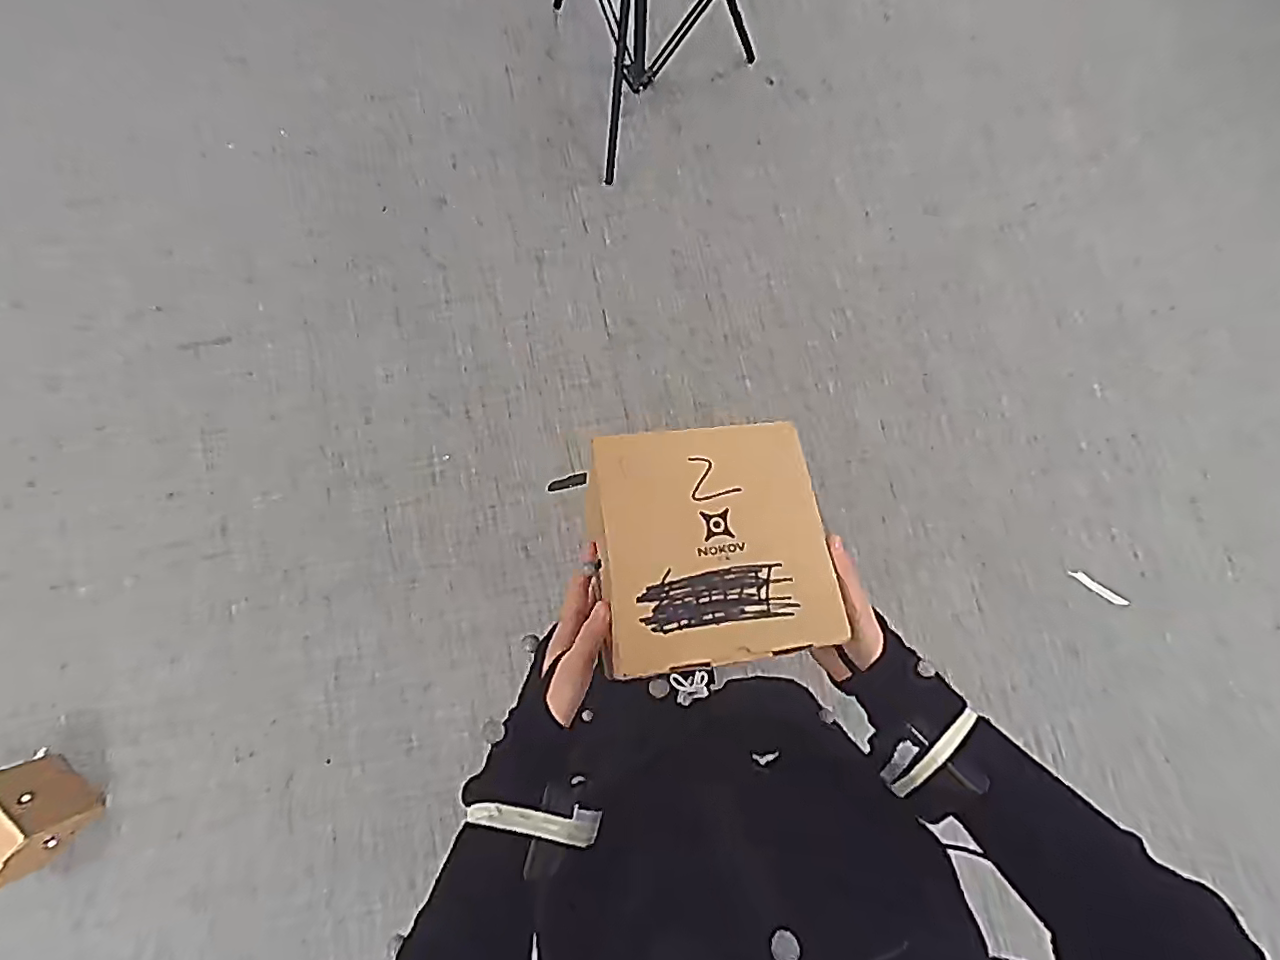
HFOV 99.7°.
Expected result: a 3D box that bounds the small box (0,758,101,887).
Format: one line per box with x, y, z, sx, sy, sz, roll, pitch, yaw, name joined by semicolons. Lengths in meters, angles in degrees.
-1.328;0.729;1.146;0.179;0.176;0.168;40;81;6;small box
